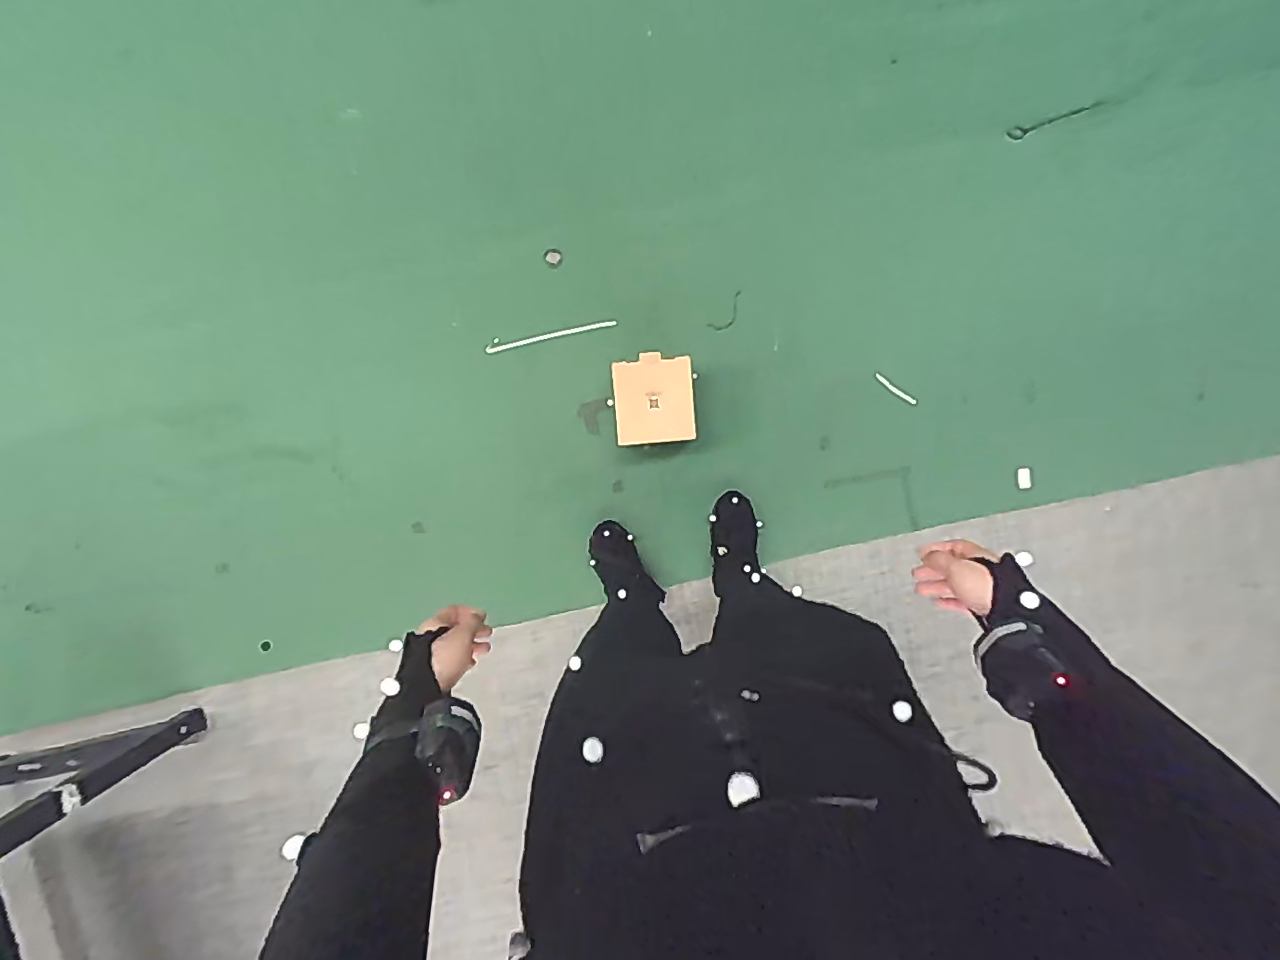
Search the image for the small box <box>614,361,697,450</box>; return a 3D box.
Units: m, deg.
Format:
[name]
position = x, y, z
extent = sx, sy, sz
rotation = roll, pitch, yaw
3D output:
[small box]
position = 0.034, -0.161, 1.207
extent = 0.168, 0.176, 0.179
rotation = -5, 93, 0
